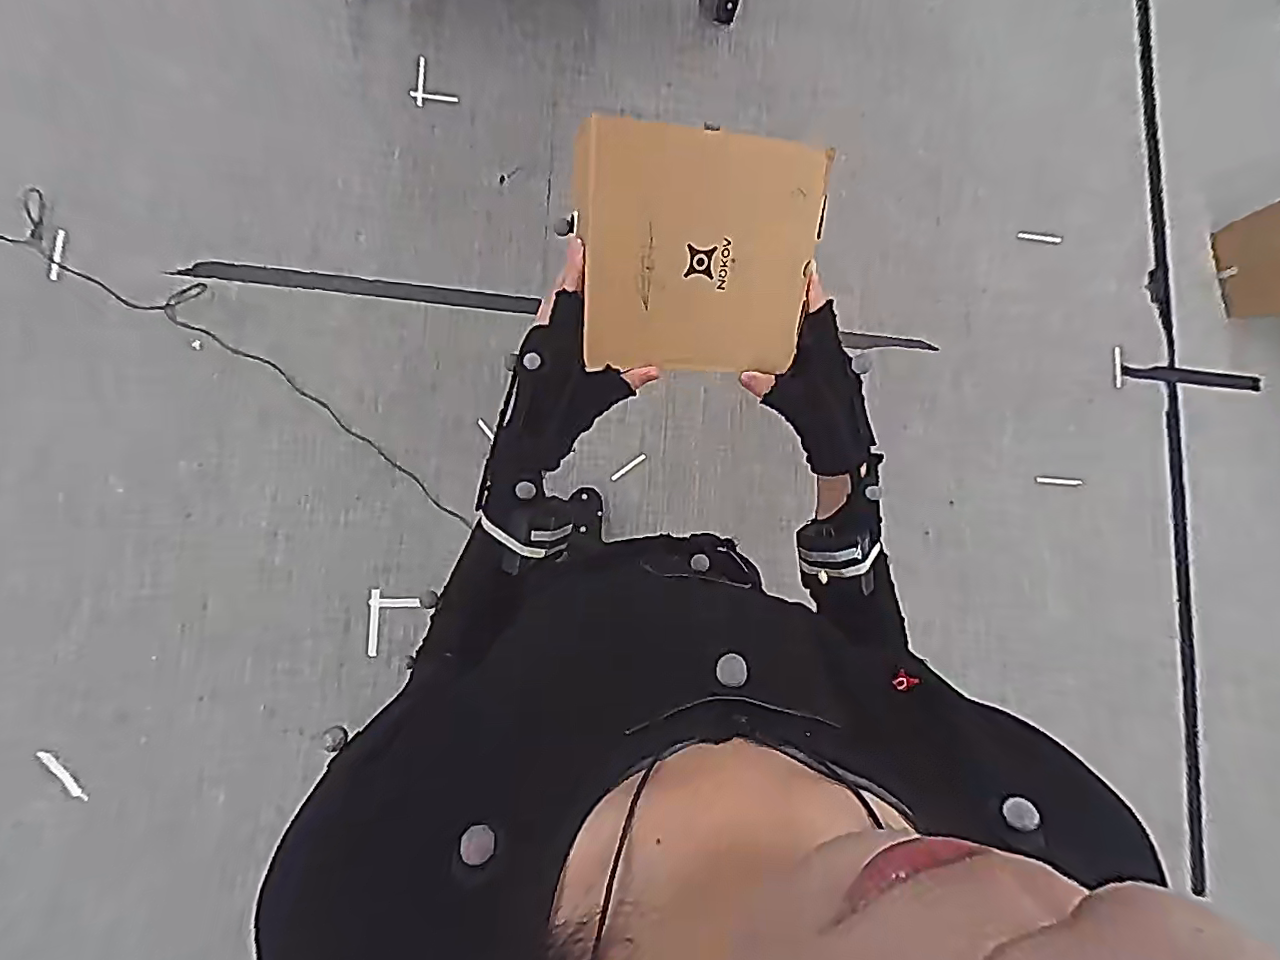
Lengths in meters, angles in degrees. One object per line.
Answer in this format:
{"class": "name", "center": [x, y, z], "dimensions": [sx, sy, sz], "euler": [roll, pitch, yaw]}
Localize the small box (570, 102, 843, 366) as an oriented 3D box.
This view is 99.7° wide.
{"class": "small box", "center": [0.036, -0.200, 0.458], "dimensions": [0.179, 0.176, 0.168], "euler": [-1, 116, -10]}
